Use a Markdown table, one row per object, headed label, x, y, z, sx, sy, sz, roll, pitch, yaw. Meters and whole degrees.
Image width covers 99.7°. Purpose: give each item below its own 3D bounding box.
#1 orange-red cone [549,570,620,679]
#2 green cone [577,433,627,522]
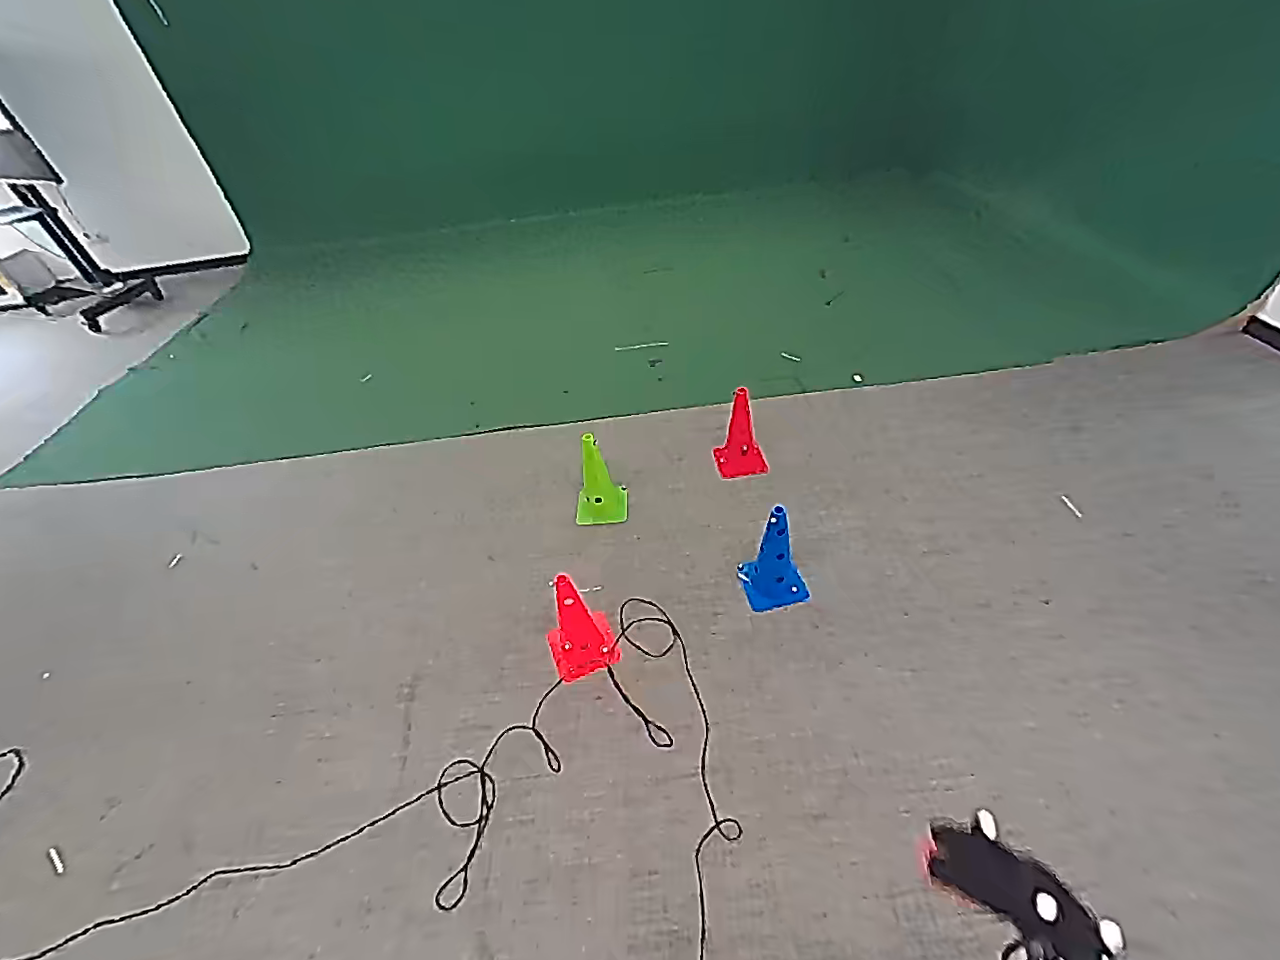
| label | x | y | z | sx | sy | sz | roll | pitch | yaw |
| --- | --- | --- | --- | --- | --- | --- | --- | --- | --- |
| orange-red cone | -0.195 | 0.393 | 1.606 | 0.198 | 0.360 | 0.199 | -19 | 42 | -13 |
| green cone | -0.172 | -0.033 | 2.057 | 0.200 | 0.368 | 0.202 | -6 | 44 | 4 |
